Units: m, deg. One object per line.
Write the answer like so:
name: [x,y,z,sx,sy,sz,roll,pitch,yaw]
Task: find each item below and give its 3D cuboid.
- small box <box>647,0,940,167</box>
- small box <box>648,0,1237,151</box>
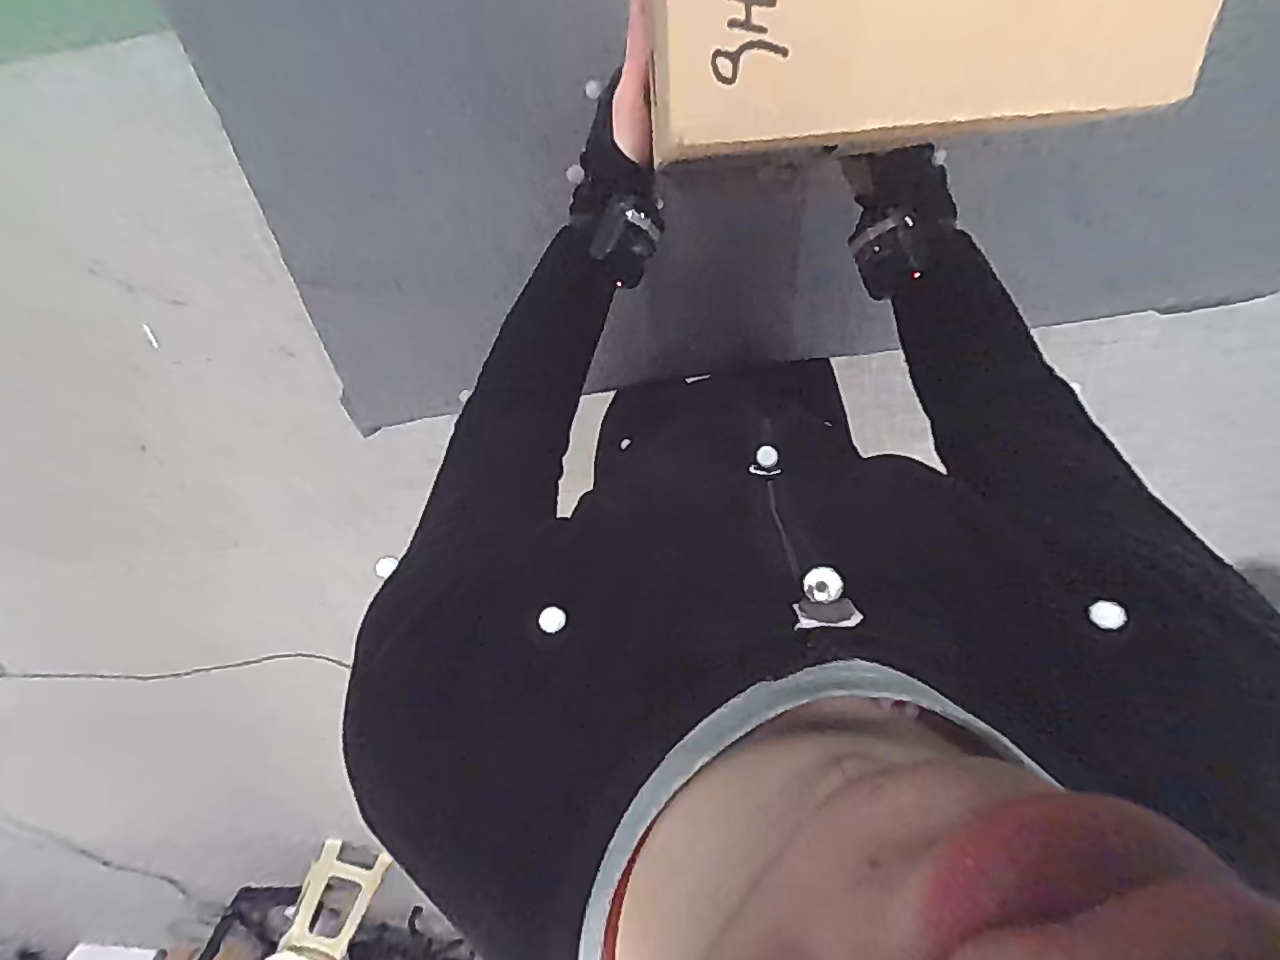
small box: [0.092,-0.306,0.352,0.179,0.176,0.168,-3,119,2]
small box: [0.091,-0.229,0.208,0.179,0.176,0.168,-3,118,2]
